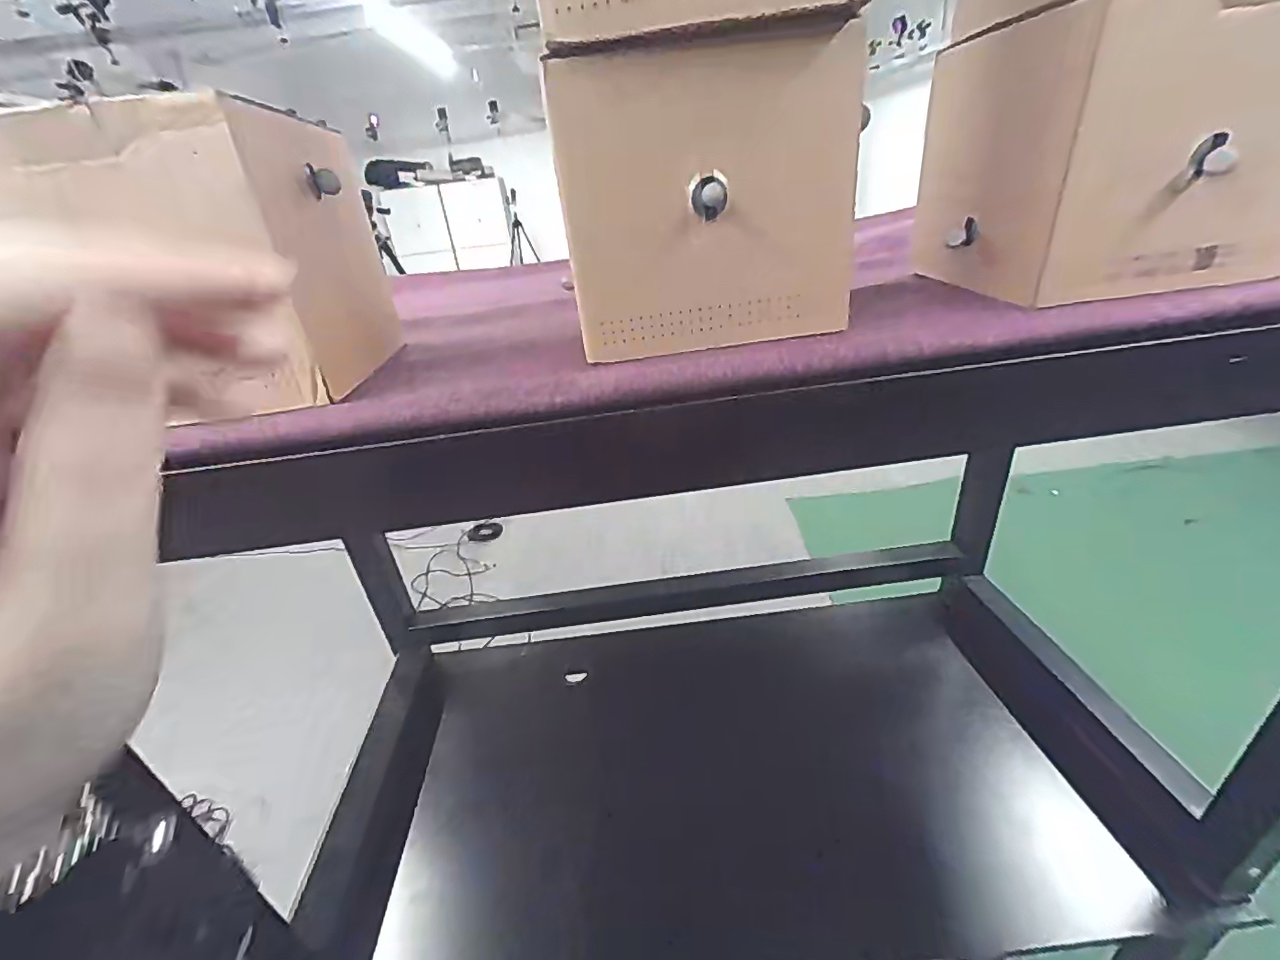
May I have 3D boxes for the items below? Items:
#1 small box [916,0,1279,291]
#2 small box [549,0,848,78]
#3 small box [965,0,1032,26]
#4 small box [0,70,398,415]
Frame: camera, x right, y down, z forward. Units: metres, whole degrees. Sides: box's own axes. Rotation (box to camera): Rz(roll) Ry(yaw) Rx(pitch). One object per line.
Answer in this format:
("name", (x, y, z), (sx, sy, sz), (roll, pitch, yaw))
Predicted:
("small box", (0.325, -0.239, 0.386), (0.168, 0.176, 0.179), (-7, 30, 1))
("small box", (0.026, -0.344, 0.300), (0.168, 0.176, 0.179), (-6, 30, 3))
("small box", (0.316, -0.381, 0.306), (0.168, 0.176, 0.179), (-7, 30, 4))
("small box", (-0.286, -0.156, 0.371), (0.168, 0.176, 0.179), (-8, 28, -4))
